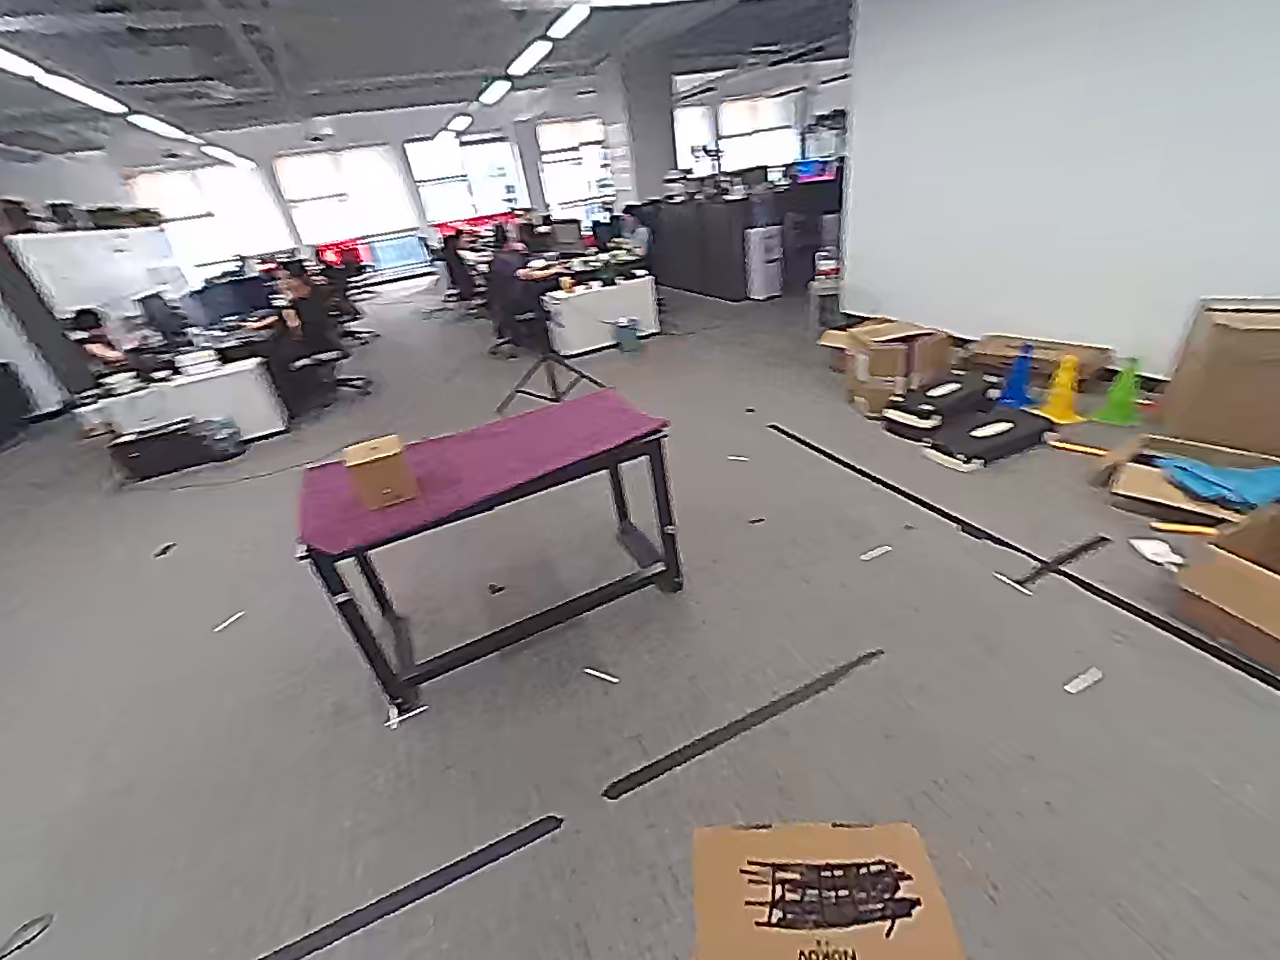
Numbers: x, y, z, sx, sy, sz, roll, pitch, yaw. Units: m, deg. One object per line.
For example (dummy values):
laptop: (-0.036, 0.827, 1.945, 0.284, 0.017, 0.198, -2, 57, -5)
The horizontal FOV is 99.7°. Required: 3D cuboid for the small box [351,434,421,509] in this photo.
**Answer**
small box: (-0.833, -0.028, 1.773, 0.168, 0.176, 0.179, -20, 31, -20)
